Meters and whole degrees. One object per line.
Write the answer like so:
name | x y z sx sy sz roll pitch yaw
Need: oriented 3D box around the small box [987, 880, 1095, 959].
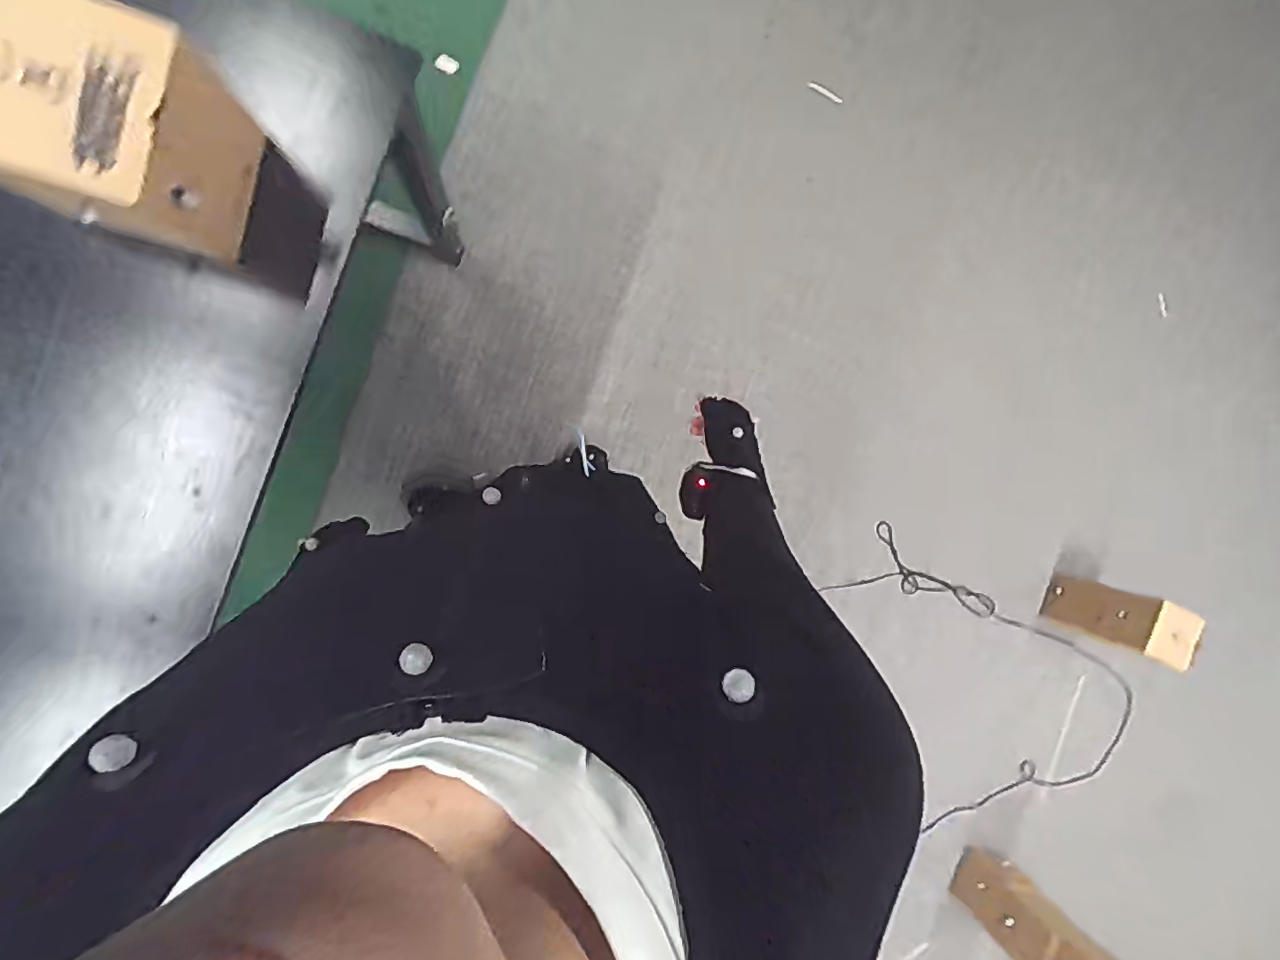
small box | 1.216 1.369 1.649 0.179 0.176 0.168 23 90 -12

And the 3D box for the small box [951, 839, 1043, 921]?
small box | 1.185 1.349 1.809 0.168 0.176 0.179 22 90 -13

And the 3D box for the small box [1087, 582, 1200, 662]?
small box | 1.523 0.425 1.646 0.179 0.176 0.168 24 89 -14

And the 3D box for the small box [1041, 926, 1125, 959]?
small box | 1.258 1.386 1.492 0.179 0.176 0.168 22 90 -12

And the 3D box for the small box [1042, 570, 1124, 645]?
small box | 1.497 0.413 1.791 0.179 0.176 0.168 26 88 -13
